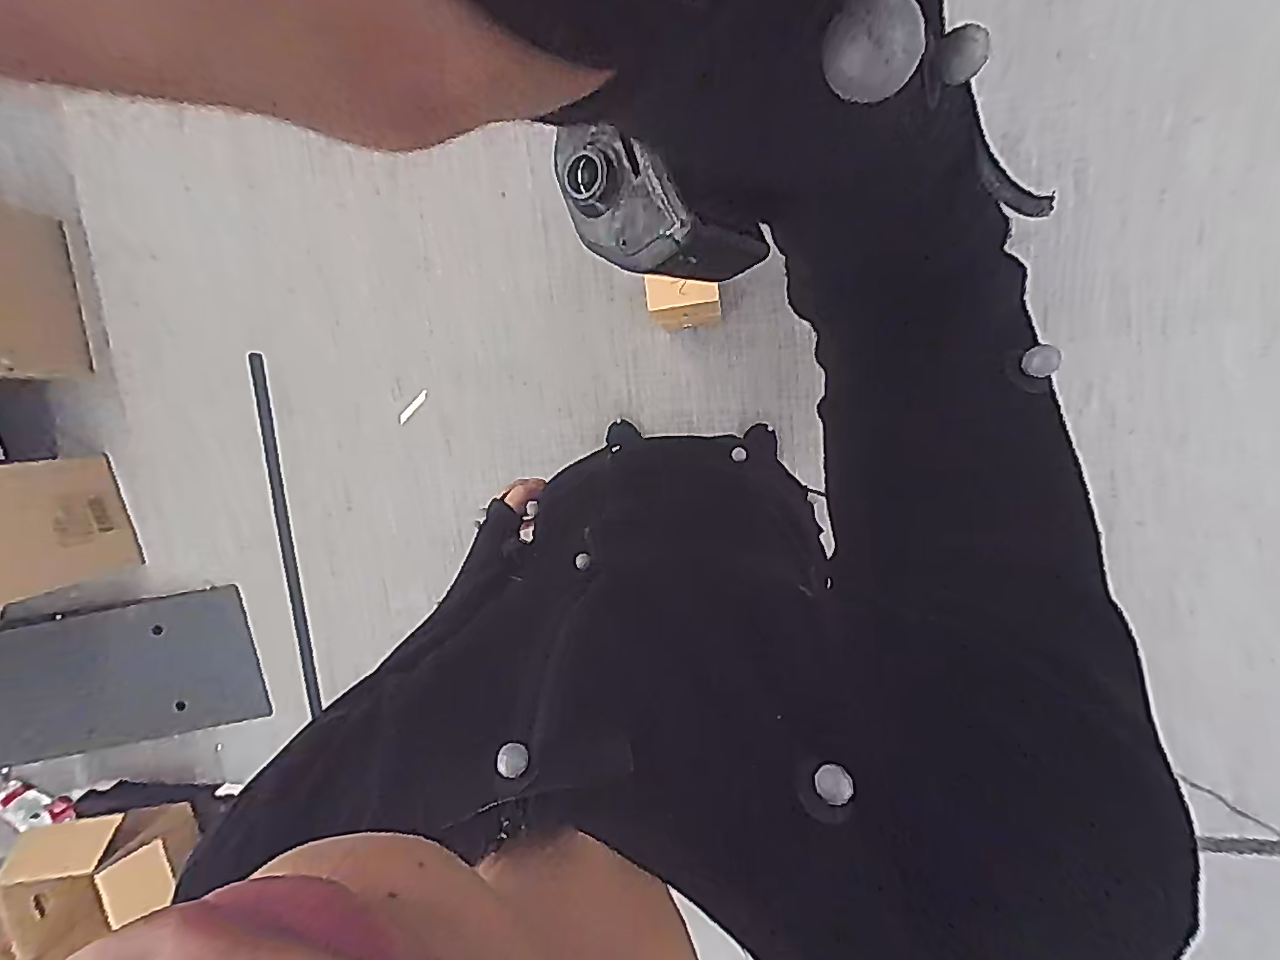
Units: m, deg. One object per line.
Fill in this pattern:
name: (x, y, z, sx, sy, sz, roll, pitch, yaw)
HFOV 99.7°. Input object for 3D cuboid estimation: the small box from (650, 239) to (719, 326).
small box: (0.123, -0.523, 1.454, 0.168, 0.176, 0.179, -5, 97, 10)
